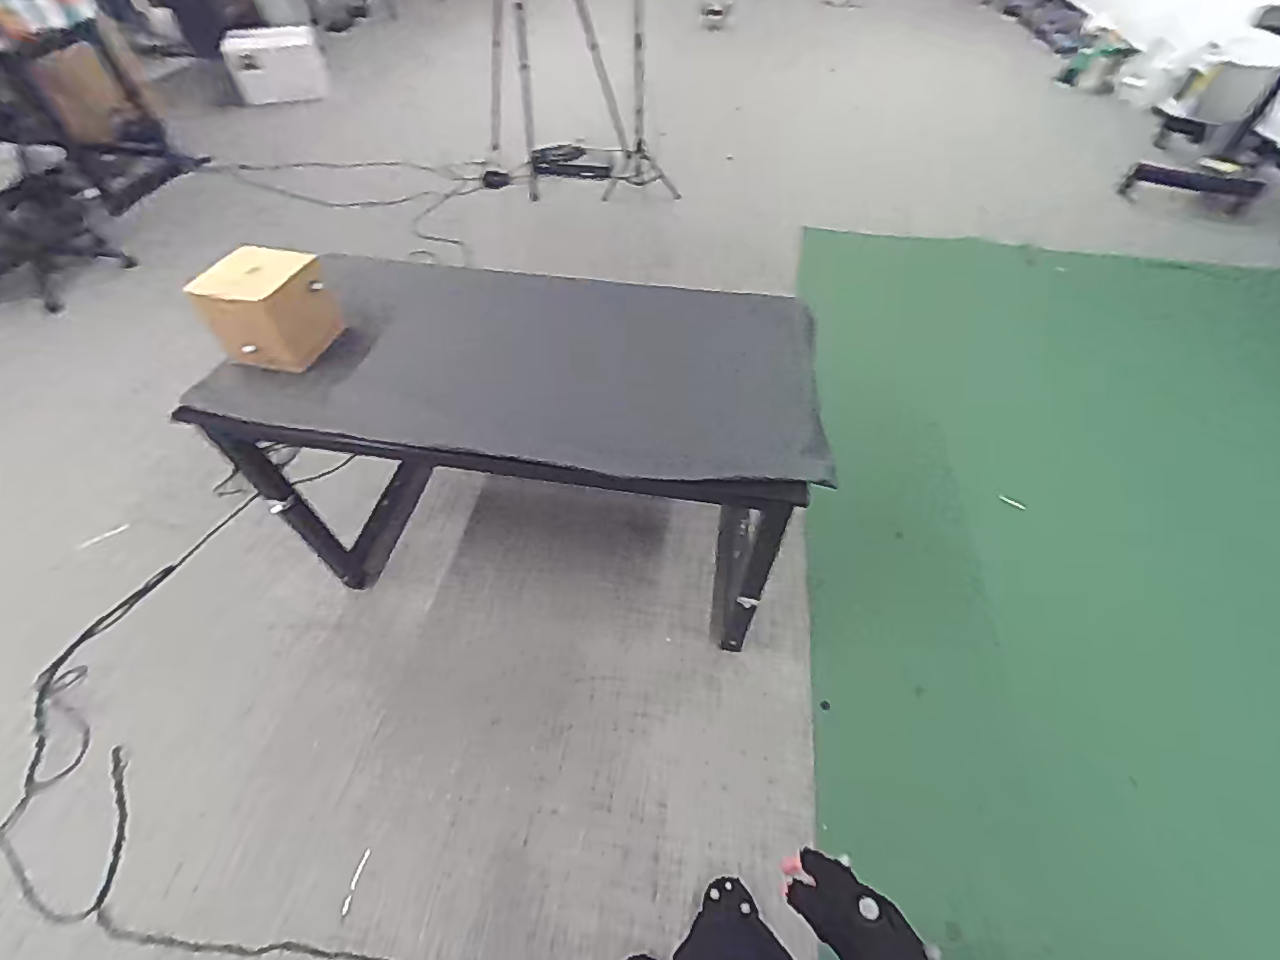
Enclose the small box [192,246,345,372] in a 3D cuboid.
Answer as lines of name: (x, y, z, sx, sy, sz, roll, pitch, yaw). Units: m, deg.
small box: (-0.741, -0.350, 1.109, 0.168, 0.176, 0.179, 10, 51, 7)
